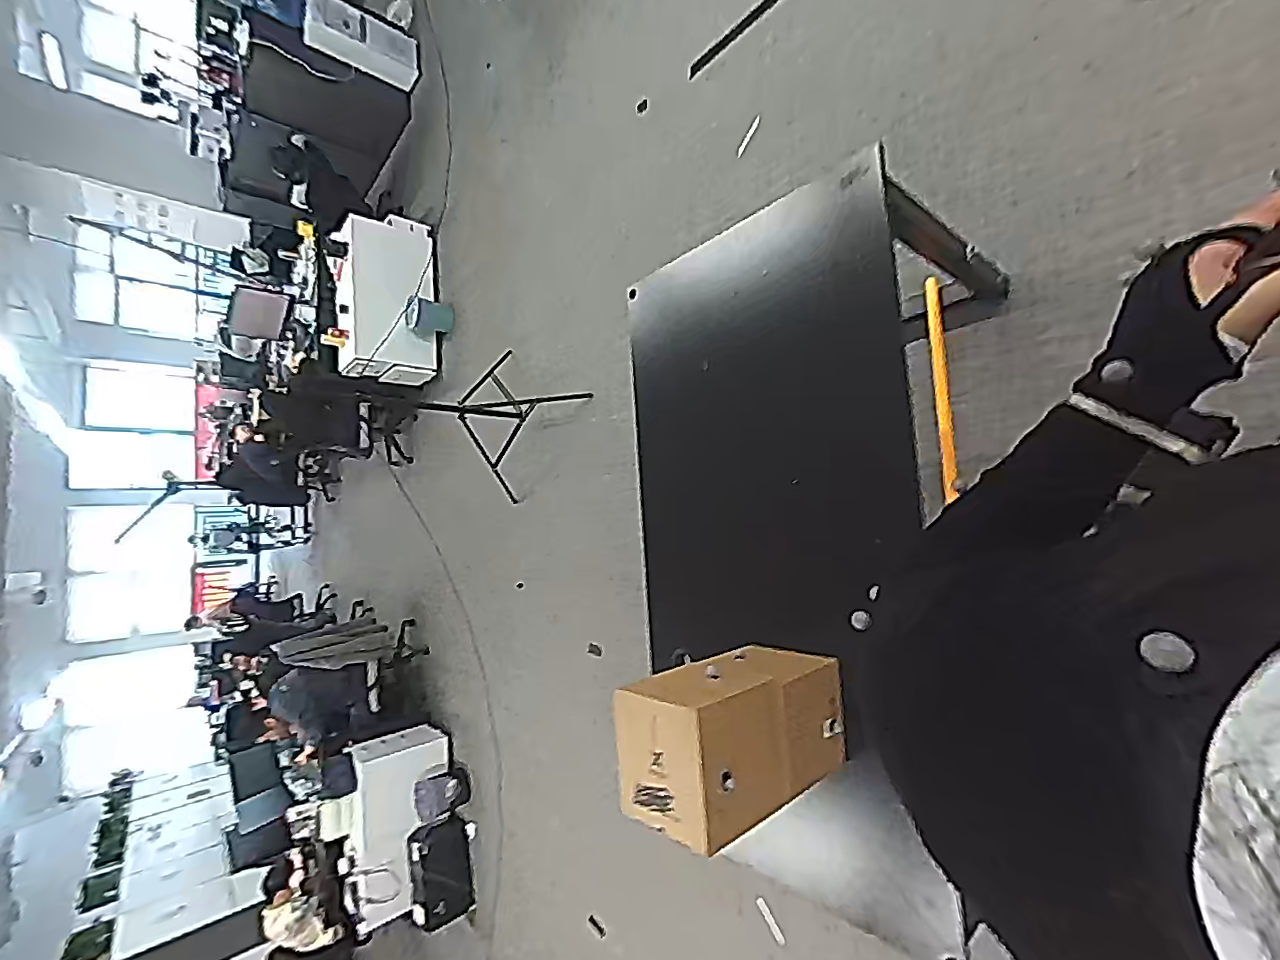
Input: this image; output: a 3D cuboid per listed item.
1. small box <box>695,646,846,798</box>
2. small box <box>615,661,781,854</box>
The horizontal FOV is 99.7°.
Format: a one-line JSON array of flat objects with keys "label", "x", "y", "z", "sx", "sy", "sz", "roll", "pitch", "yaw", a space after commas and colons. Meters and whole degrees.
[{"label": "small box", "x": 0.207, "y": 0.374, "z": 0.876, "sx": 0.179, "sy": 0.176, "sz": 0.168, "roll": -9, "pitch": 84, "yaw": 48}, {"label": "small box", "x": 0.084, "y": 0.372, "z": 0.766, "sx": 0.168, "sy": 0.176, "sz": 0.179, "roll": -10, "pitch": 82, "yaw": 49}]
